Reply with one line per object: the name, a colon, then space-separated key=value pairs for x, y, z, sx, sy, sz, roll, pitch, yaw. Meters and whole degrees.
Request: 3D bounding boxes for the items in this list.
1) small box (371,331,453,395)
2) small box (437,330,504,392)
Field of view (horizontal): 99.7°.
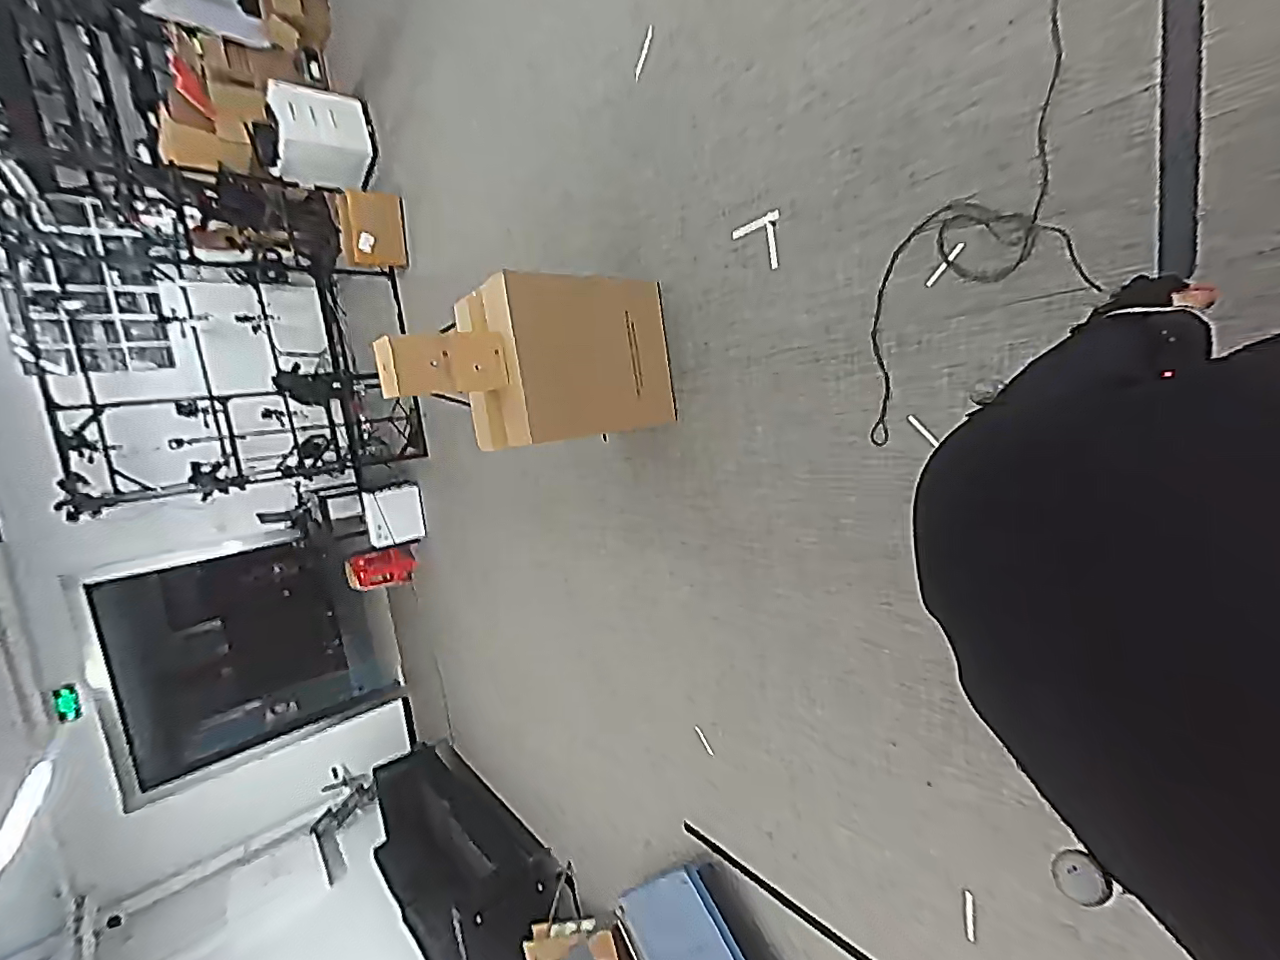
small box: x=-0.665 y=-0.341 z=1.582 sx=0.179 sy=0.176 sz=0.168 roll=6 pitch=107 yaw=51
small box: x=-0.534 y=-0.369 z=1.678 sx=0.179 sy=0.176 sz=0.168 roll=3 pitch=103 yaw=51
